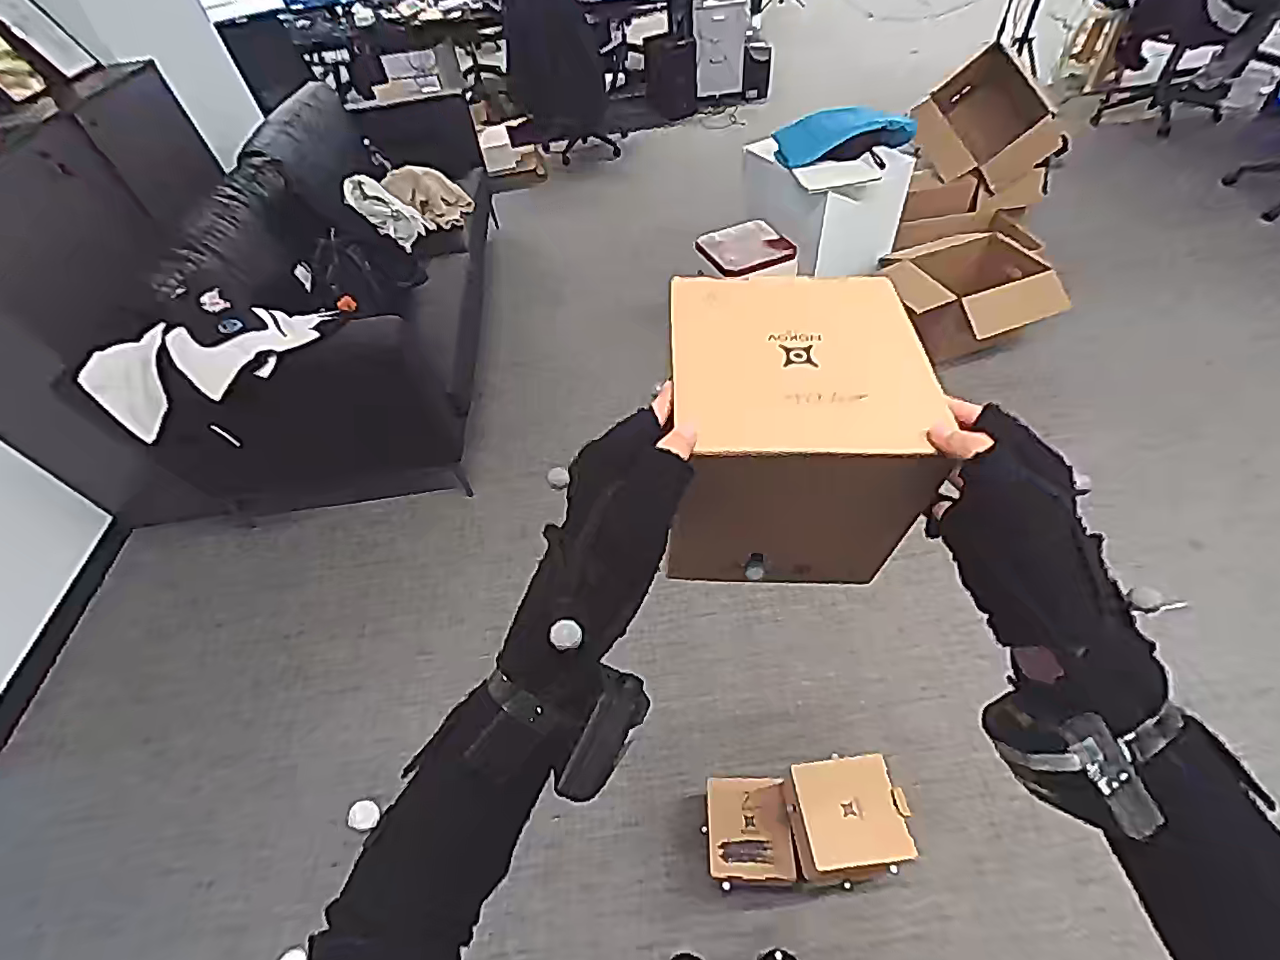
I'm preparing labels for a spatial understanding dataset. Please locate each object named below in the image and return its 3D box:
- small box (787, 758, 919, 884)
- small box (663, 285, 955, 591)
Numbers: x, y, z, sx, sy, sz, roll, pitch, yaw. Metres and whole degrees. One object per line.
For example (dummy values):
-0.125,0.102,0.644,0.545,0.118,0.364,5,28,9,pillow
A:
0.383,0.643,1.014,0.179,0.176,0.168,-8,49,0,small box
0.103,-0.031,0.425,0.168,0.176,0.179,0,53,2,small box
